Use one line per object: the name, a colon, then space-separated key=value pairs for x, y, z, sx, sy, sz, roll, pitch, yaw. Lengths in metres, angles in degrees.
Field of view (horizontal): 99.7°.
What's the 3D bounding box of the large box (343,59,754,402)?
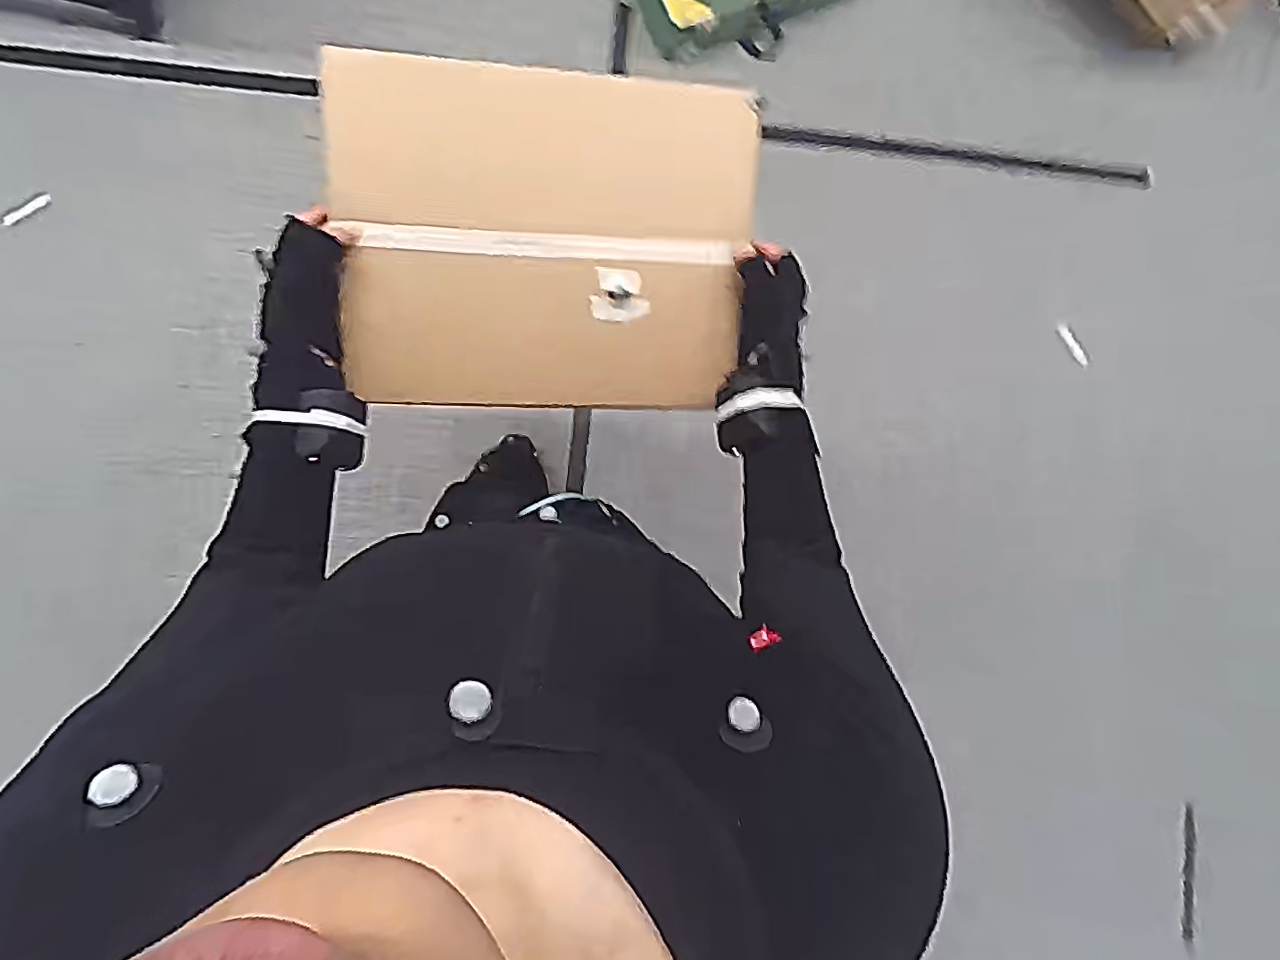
large box: x=-0.105 y=-0.262 z=0.694 sx=0.408 sy=0.320 sz=0.320 roll=1 pitch=100 yaw=-8
